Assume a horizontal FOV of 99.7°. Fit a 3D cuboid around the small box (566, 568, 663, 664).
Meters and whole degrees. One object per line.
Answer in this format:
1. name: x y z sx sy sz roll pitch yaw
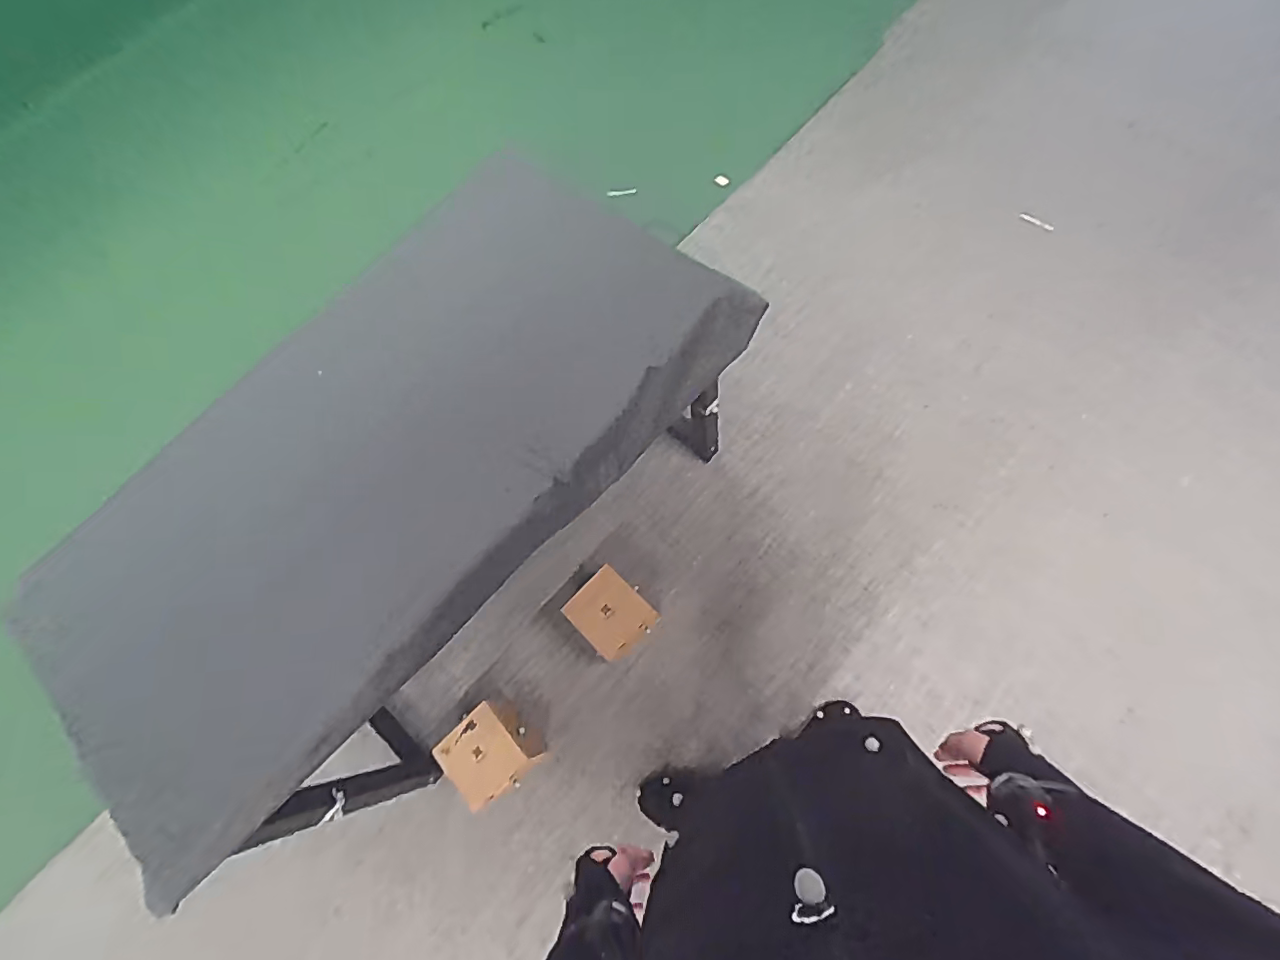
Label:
1. small box: -0.058 0.359 1.403 0.179 0.176 0.168 40 79 22
